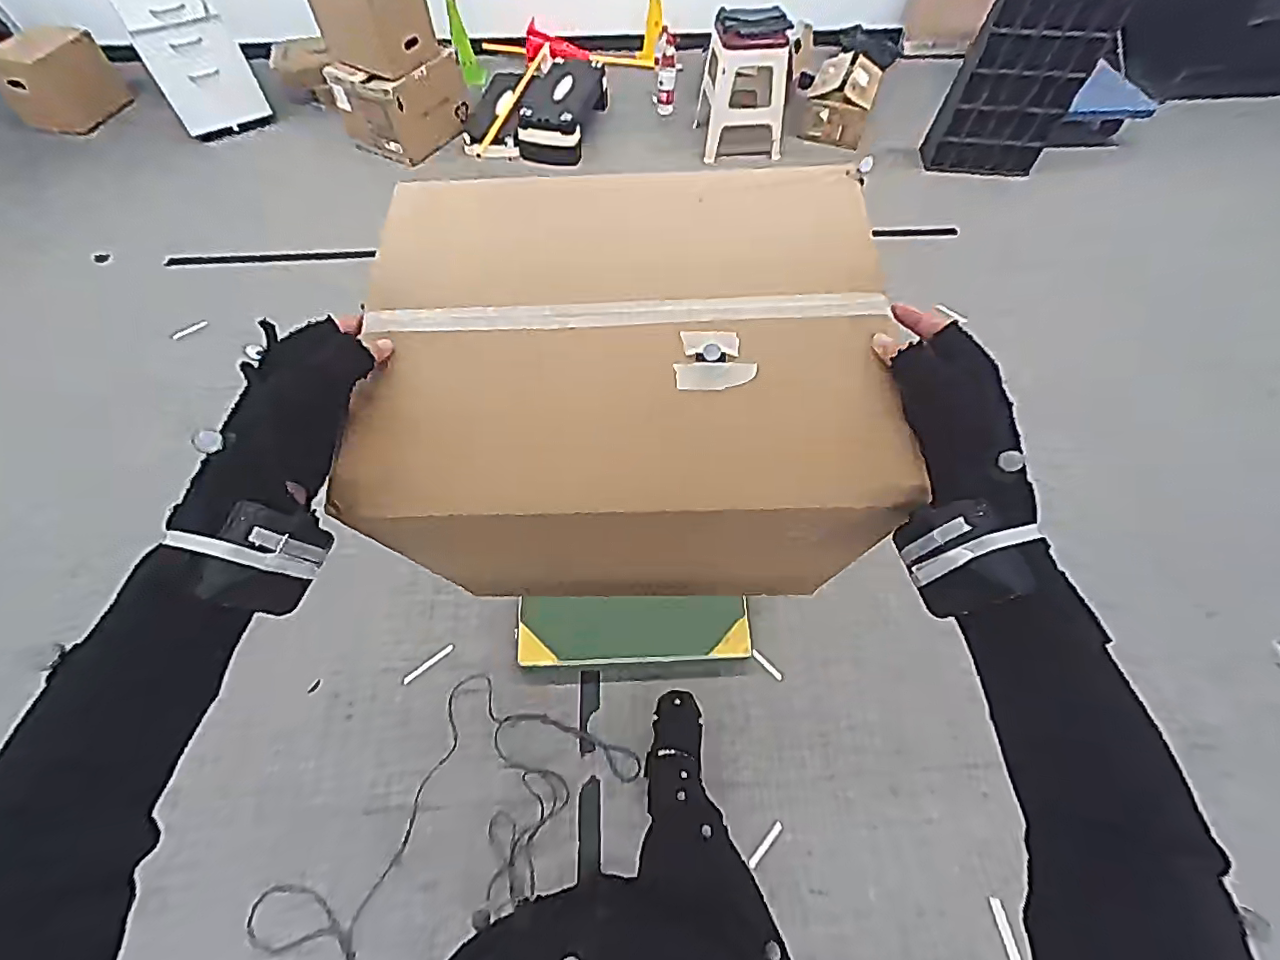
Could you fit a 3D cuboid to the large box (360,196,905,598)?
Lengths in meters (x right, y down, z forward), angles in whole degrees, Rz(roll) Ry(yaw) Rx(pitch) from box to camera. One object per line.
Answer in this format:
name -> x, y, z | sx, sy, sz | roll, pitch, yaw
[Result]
large box -> -0.008, -0.060, 0.582 | 0.408, 0.320, 0.320 | -1, 68, 1
